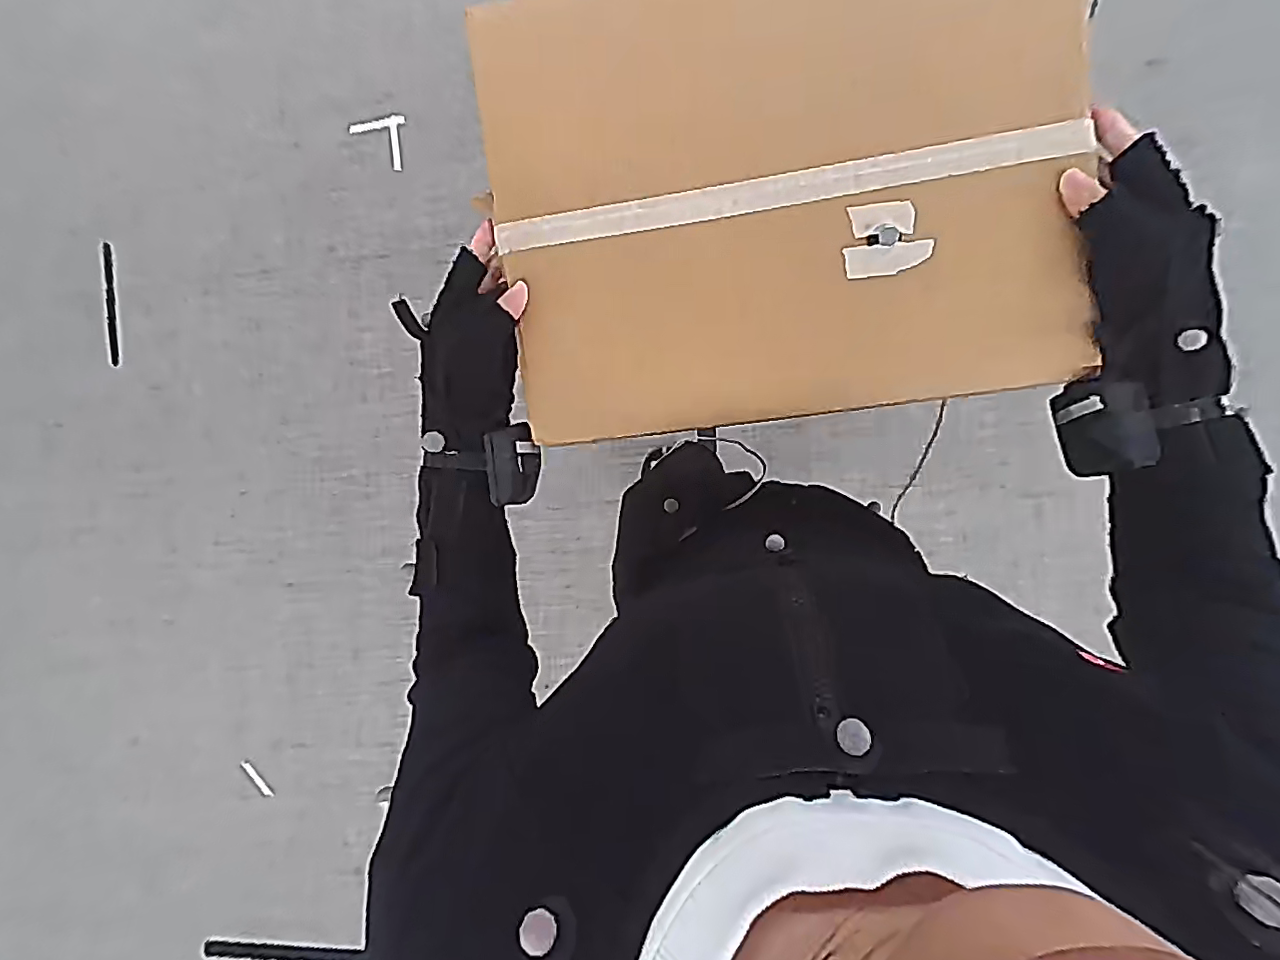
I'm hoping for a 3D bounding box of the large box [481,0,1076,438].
[{"bbox_3d":[0.109,-0.227,0.540,0.408,0.320,0.320,-7,97,5],"label":"large box"}]
